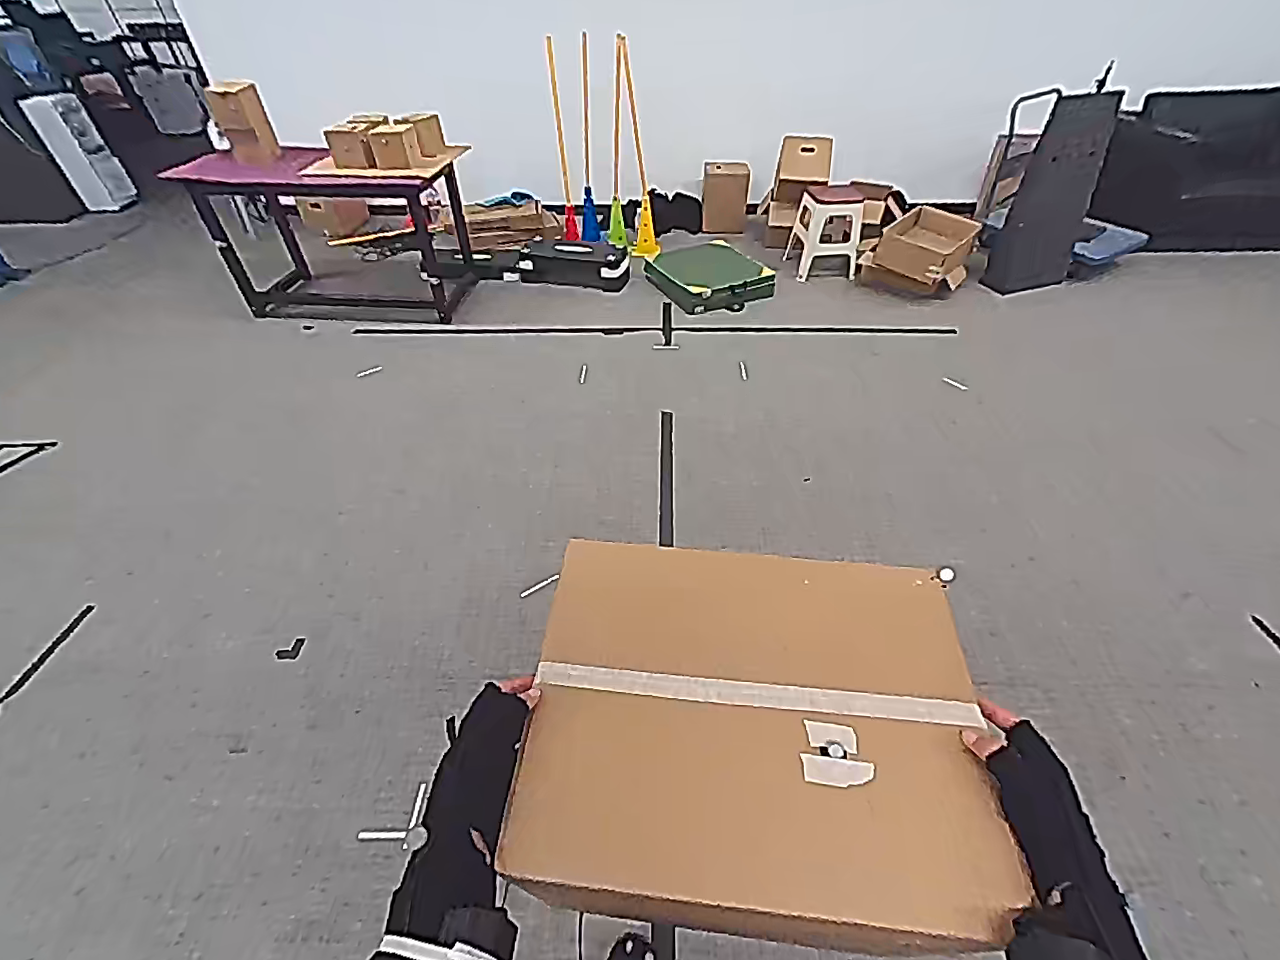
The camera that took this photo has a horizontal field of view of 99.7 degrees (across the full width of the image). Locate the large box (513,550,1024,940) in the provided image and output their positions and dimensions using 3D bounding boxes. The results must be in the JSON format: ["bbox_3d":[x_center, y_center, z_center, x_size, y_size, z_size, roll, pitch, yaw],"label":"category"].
[{"bbox_3d":[0.107,0.306,0.626,0.408,0.320,0.320,4,49,5],"label":"large box"}]
